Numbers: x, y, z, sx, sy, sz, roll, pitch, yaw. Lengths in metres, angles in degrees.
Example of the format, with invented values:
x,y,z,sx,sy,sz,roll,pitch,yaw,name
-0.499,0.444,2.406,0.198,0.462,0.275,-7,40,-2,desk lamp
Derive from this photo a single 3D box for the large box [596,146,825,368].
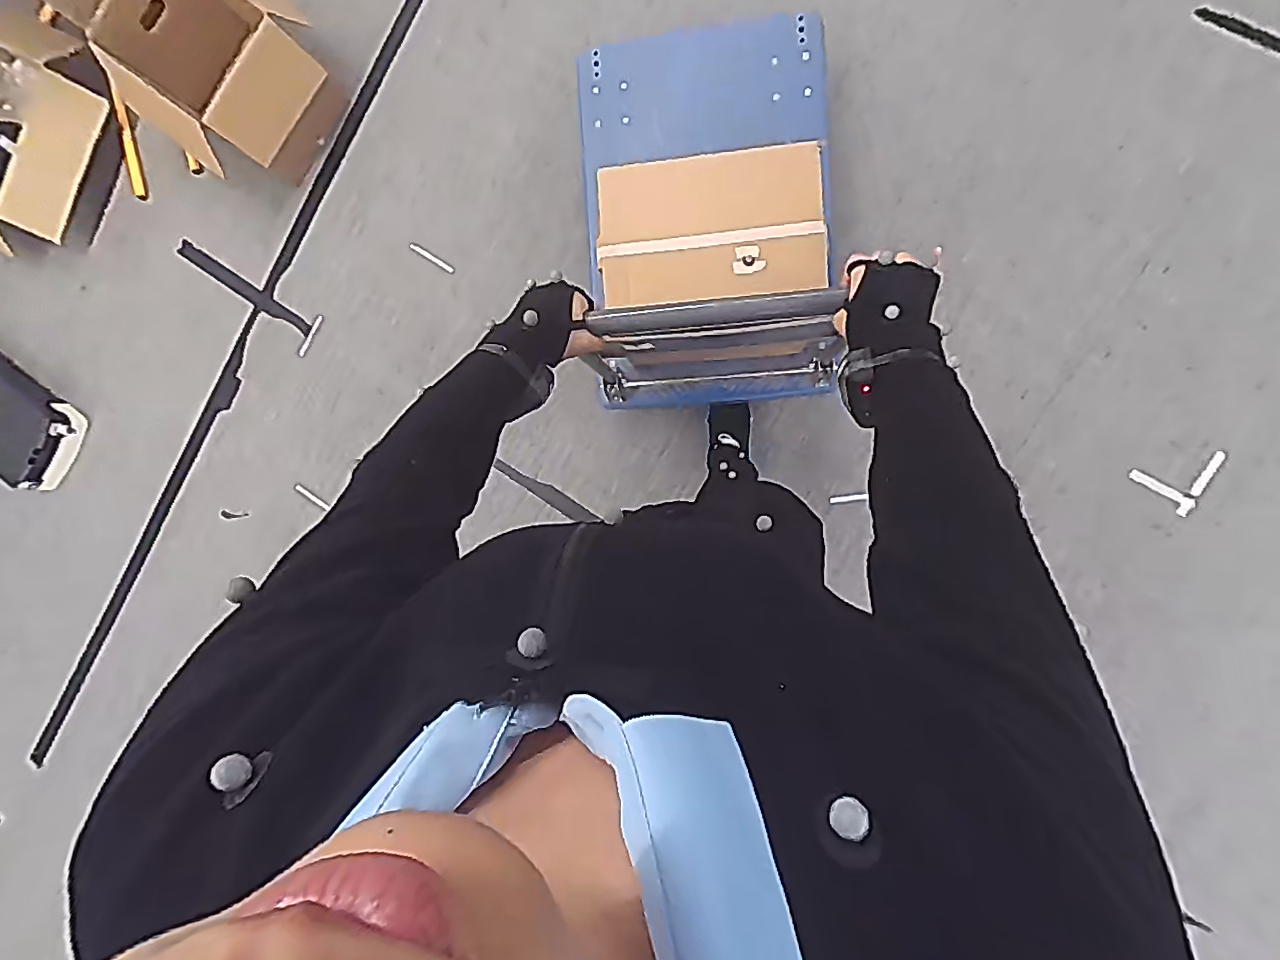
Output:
x,y,z,sx,sy,sz,roll,pitch,yaw,name
0.139,-0.432,1.132,0.408,0.320,0.320,-3,92,6,large box
